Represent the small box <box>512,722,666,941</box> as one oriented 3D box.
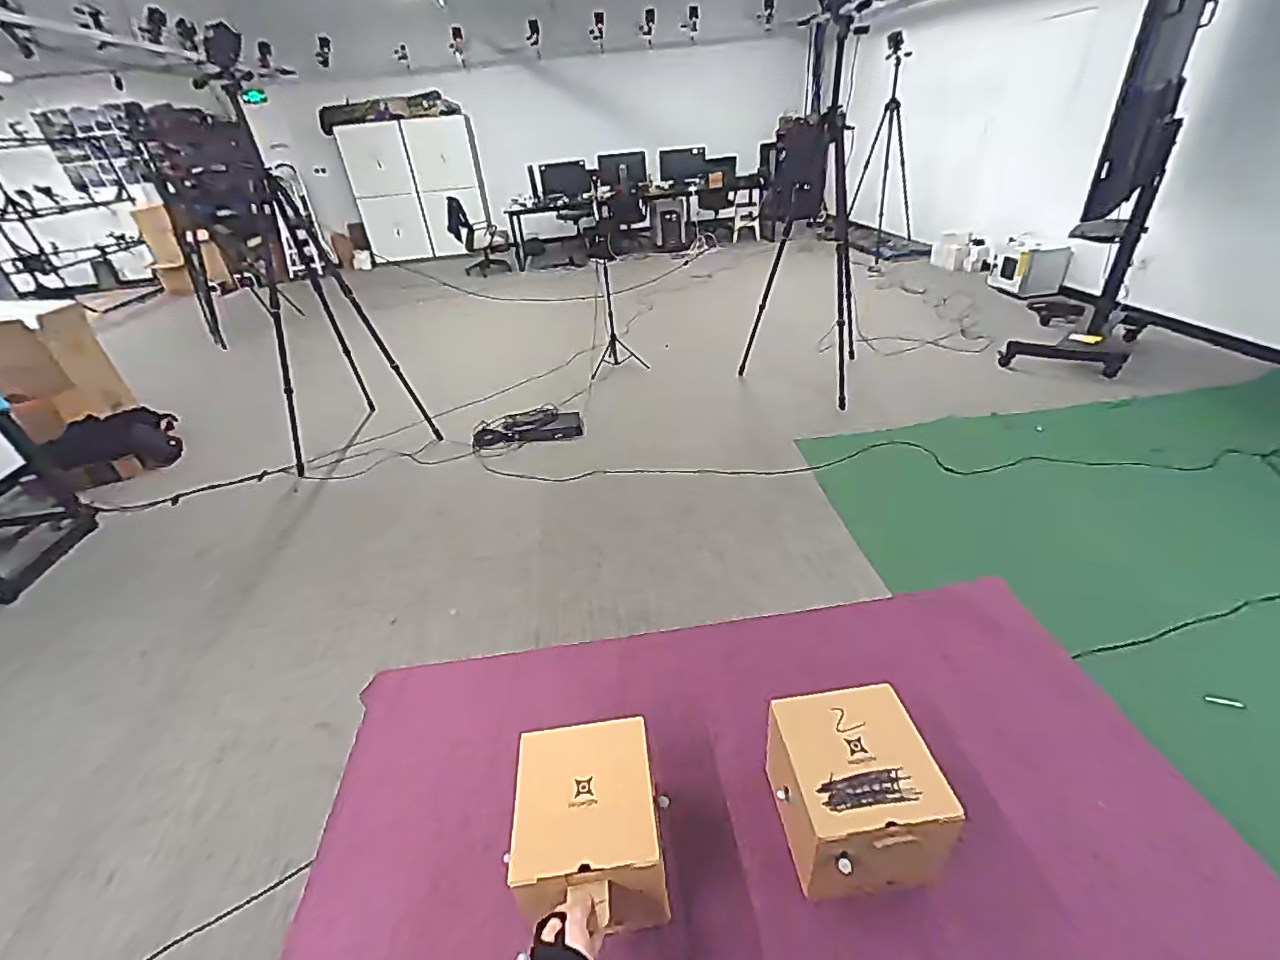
[{"bbox_3d":[-0.061,0.452,0.703,0.168,0.176,0.179,-8,34,-2],"label":"small box"}]
